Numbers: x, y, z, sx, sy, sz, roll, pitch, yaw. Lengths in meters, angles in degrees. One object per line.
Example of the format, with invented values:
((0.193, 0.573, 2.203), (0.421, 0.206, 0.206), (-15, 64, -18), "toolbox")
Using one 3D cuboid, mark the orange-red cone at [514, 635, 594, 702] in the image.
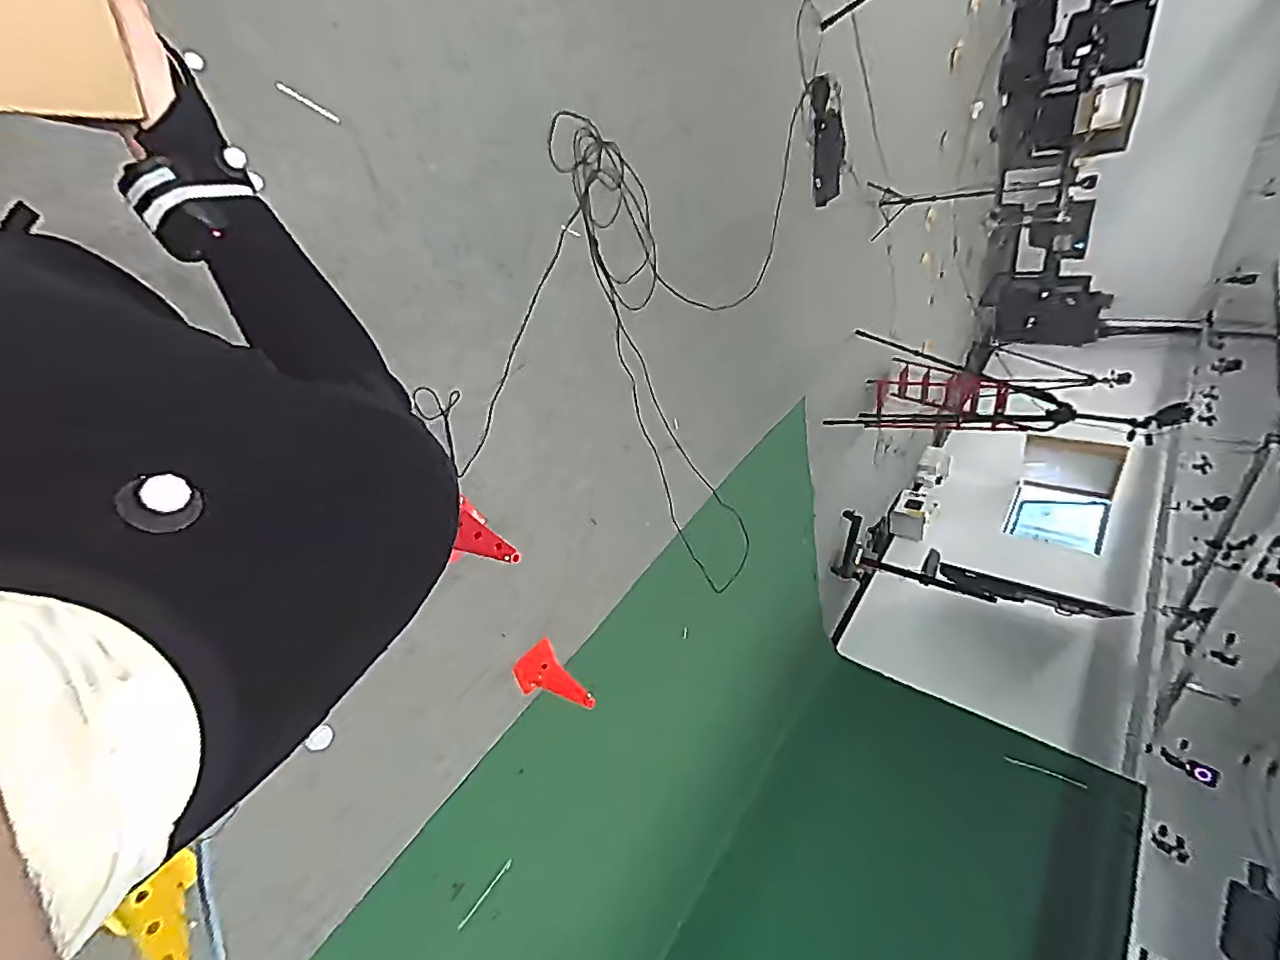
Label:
((-0.333, 0.841, 2.290), (0.199, 0.360, 0.198), (-39, 131, -38), "orange-red cone")
